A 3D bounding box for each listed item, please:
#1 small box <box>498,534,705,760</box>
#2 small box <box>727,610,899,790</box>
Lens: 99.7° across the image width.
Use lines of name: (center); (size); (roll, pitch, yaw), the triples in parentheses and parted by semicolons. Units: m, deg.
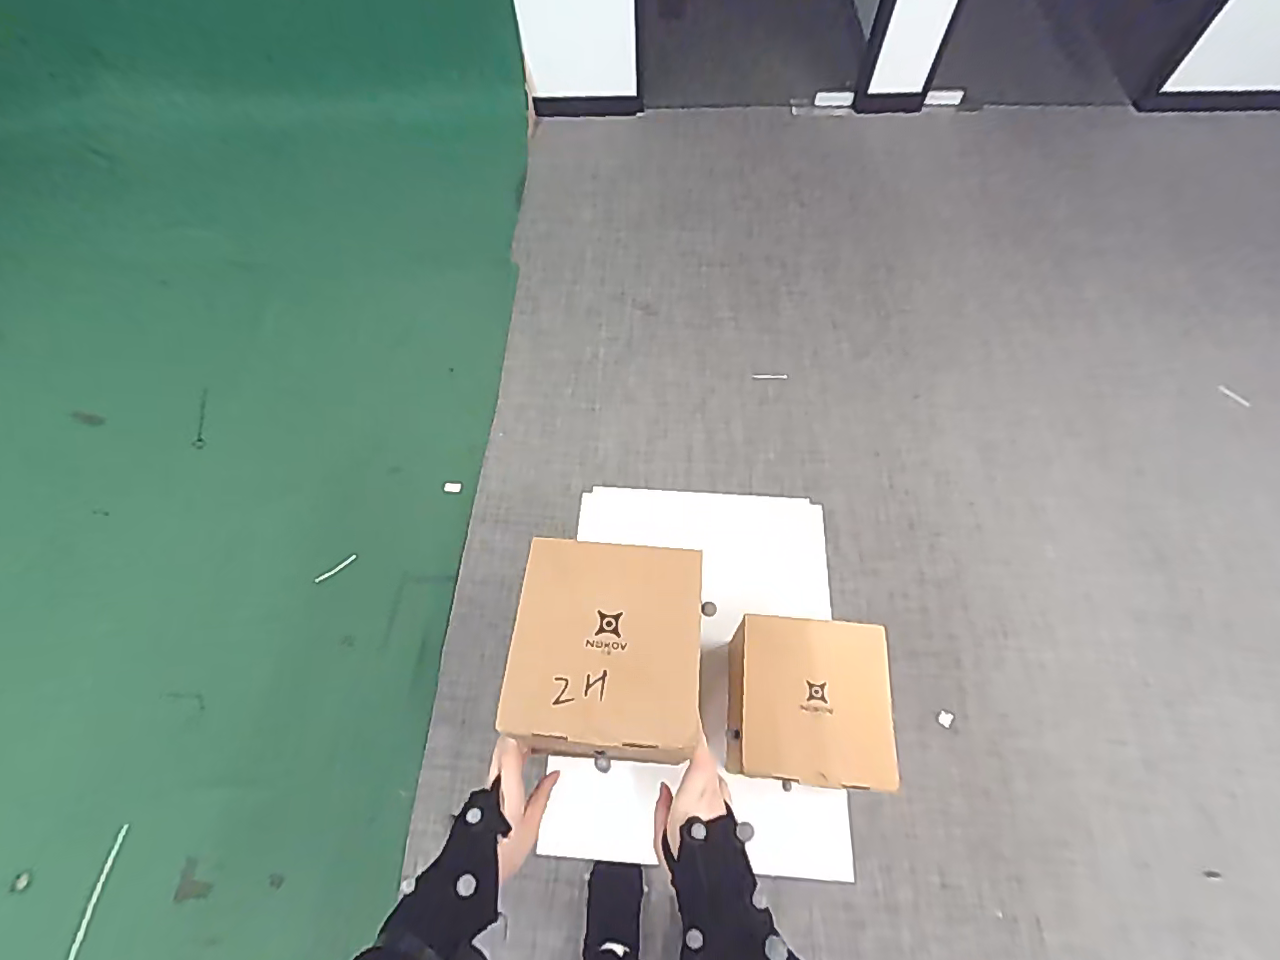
small box: (-0.028, 0.174, 0.546); (0.168, 0.176, 0.179); (4, 61, 4)
small box: (0.201, 0.275, 0.678); (0.168, 0.176, 0.179); (4, 64, 5)
